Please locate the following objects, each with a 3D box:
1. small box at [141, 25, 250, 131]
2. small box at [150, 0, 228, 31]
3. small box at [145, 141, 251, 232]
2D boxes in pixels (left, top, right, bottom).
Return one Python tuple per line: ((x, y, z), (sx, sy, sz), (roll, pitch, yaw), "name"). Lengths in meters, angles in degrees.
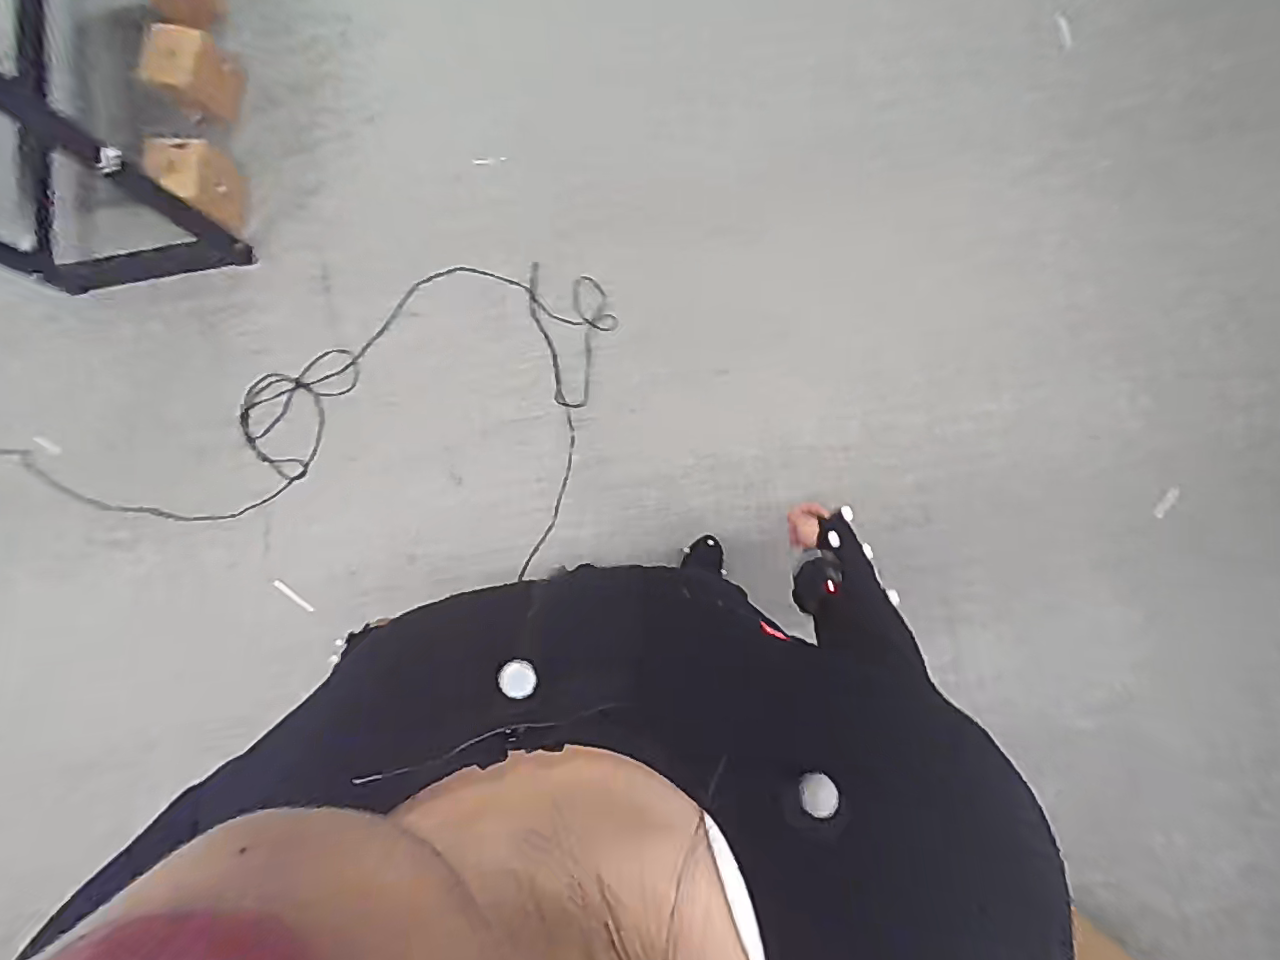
((-1.312, -1.190, 1.609), (0.168, 0.176, 0.179), (12, 86, 4), "small box")
((-1.397, -1.527, 1.646), (0.179, 0.176, 0.168), (-14, 83, 0), "small box")
((-1.276, -0.847, 1.572), (0.168, 0.176, 0.179), (4, 85, 2), "small box")
